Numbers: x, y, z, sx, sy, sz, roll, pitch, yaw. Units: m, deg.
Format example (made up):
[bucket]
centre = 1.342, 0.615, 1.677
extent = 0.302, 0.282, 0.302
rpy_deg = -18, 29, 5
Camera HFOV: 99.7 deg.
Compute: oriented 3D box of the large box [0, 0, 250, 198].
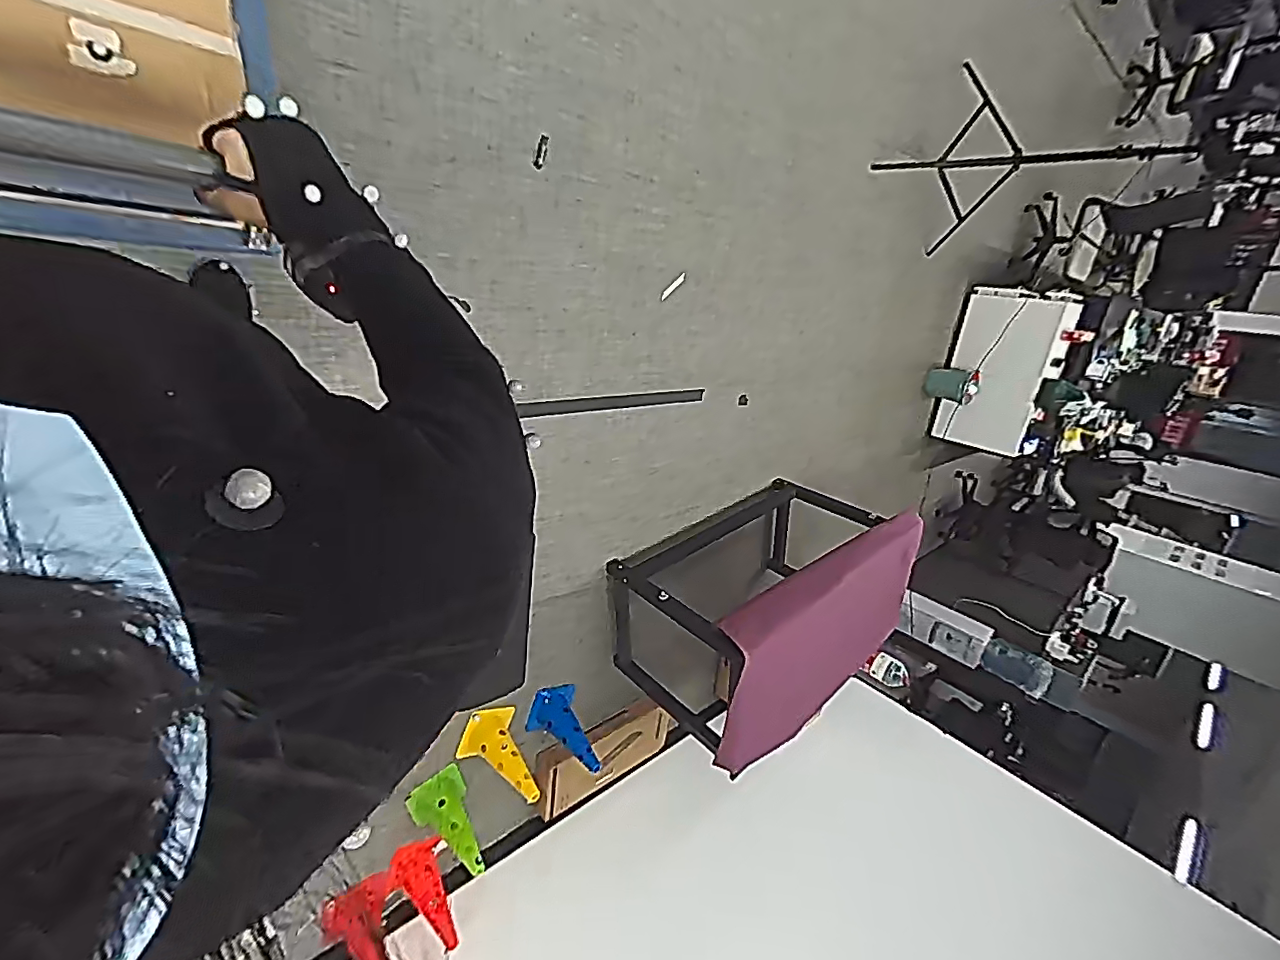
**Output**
[large box]
centre = -0.773, -0.569, 0.676
extent = 0.408, 0.320, 0.320
rpy_deg = -10, 115, -42
